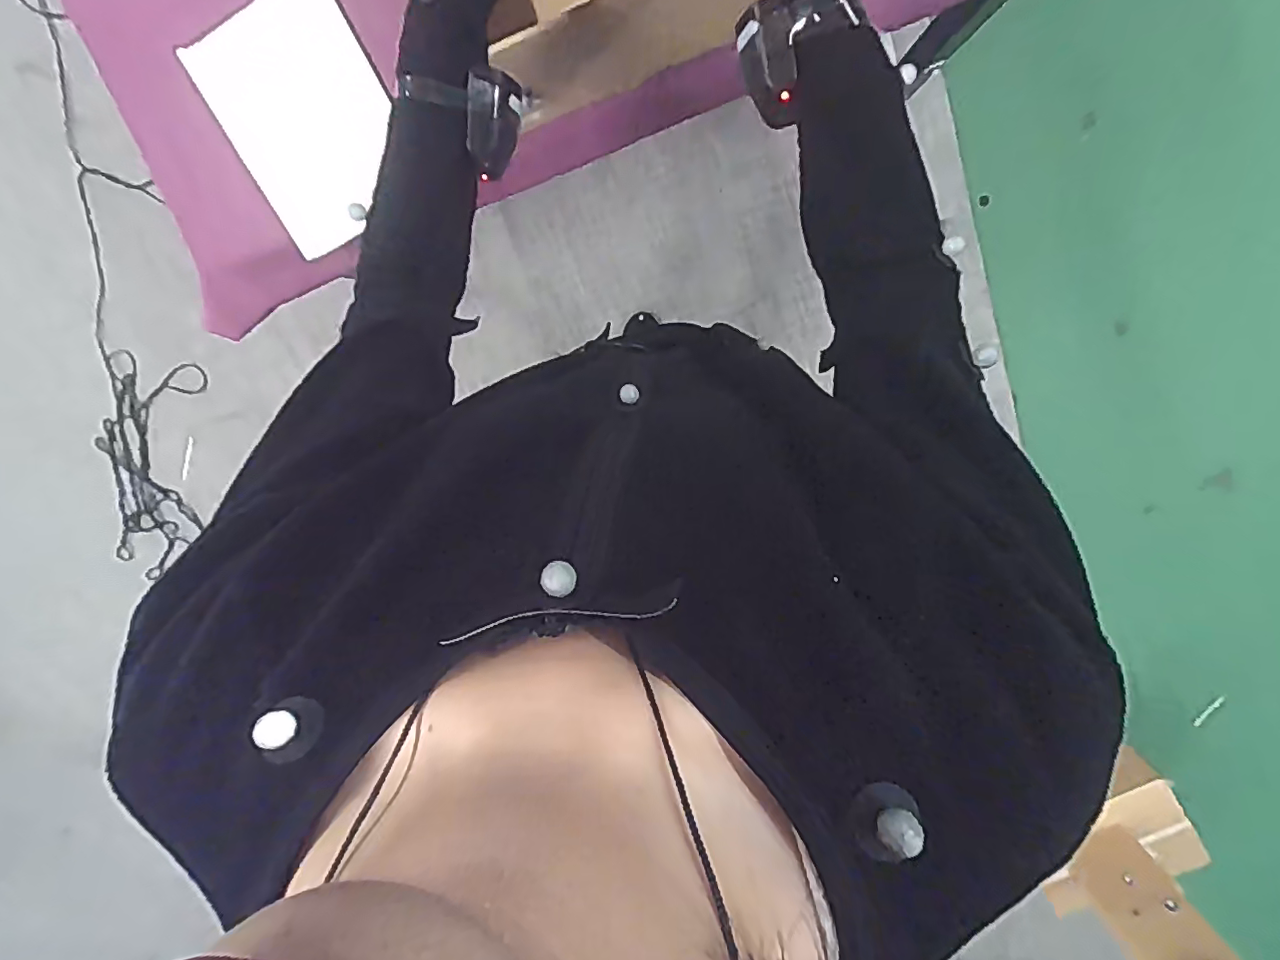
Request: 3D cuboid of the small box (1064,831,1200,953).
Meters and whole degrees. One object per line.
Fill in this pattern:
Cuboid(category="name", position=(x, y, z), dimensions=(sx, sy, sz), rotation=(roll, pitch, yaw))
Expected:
Cuboid(category="small box", position=(1.184, 0.992, 1.298), dimensions=(0.179, 0.176, 0.168), rotation=(-30, 99, 11))

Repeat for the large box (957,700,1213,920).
Cuboid(category="large box", position=(1.221, 0.914, 1.529), dimensions=(0.408, 0.320, 0.320), rotation=(-34, 101, 10))

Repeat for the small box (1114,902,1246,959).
Cuboid(category="small box", position=(1.167, 1.042, 1.143), dimensions=(0.168, 0.176, 0.179), rotation=(-28, 100, 10))
